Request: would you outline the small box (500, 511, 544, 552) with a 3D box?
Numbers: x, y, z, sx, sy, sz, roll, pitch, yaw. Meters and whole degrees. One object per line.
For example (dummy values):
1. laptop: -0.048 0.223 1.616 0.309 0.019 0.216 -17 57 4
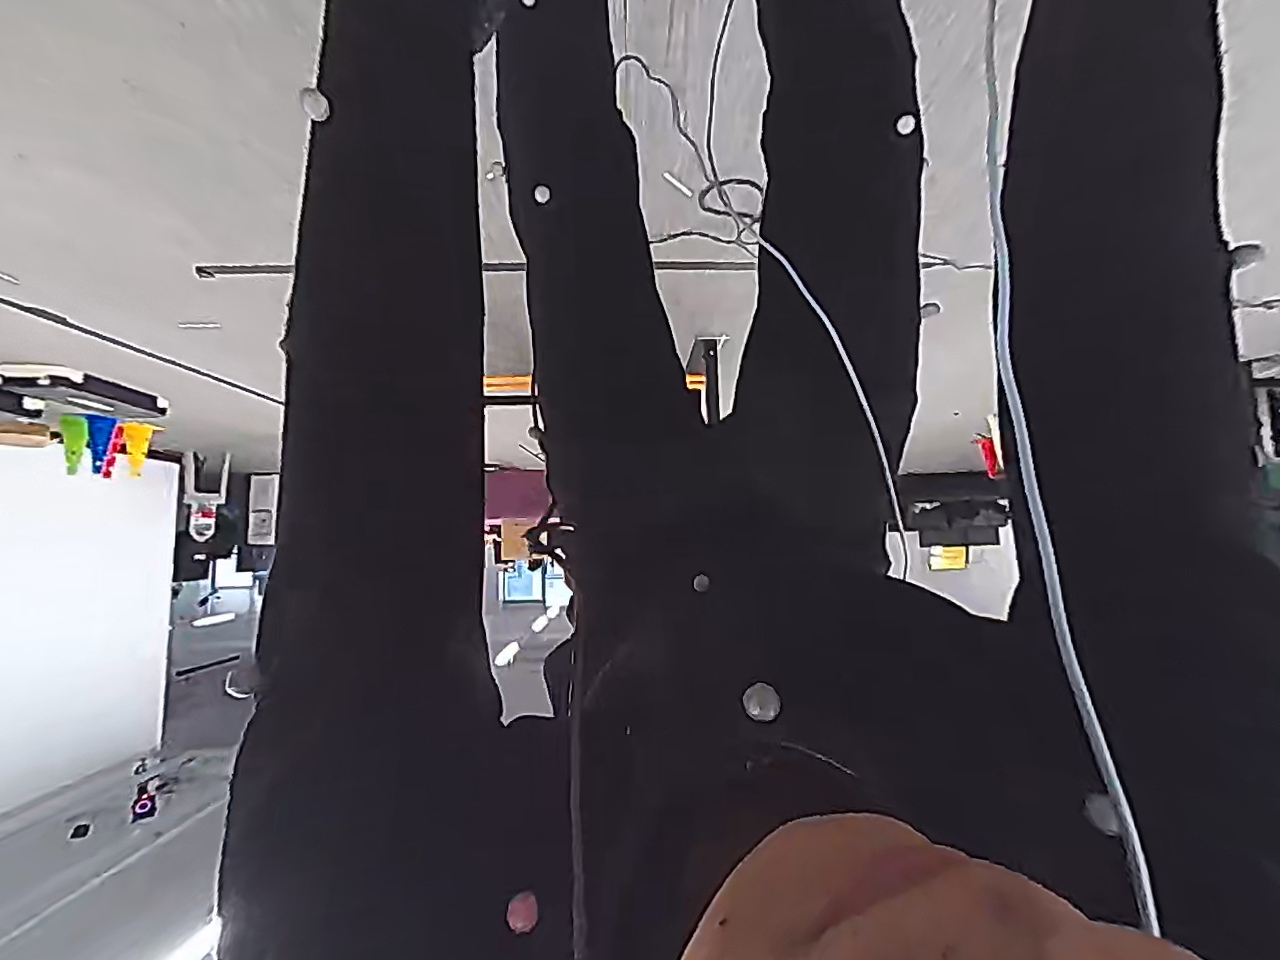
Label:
1. small box: -0.512 0.222 2.355 0.168 0.176 0.179 -1 175 -2
